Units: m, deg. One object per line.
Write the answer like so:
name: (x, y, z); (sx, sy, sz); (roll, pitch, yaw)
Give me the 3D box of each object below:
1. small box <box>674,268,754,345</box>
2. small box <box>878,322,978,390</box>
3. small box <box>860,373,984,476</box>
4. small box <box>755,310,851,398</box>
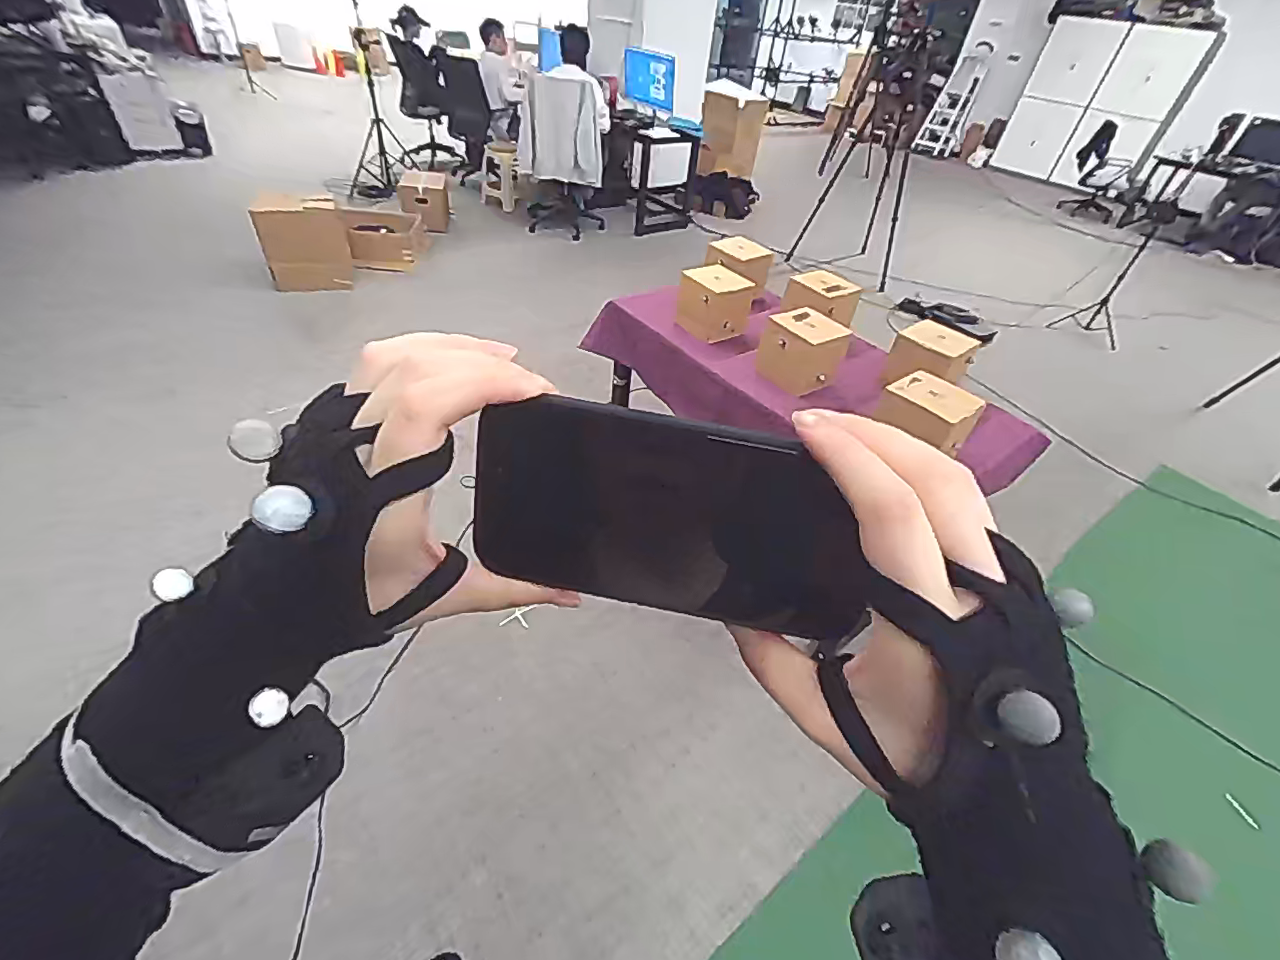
small box: (0.229, -0.554, 1.725); (0.168, 0.176, 0.179); (-22, 51, -30)
small box: (0.819, -0.328, 1.554); (0.179, 0.176, 0.168); (-26, 51, -32)
small box: (0.676, -0.129, 1.310); (0.168, 0.176, 0.179); (-24, 50, -32)
small box: (0.455, -0.359, 1.537); (0.168, 0.176, 0.179); (-21, 50, -28)
